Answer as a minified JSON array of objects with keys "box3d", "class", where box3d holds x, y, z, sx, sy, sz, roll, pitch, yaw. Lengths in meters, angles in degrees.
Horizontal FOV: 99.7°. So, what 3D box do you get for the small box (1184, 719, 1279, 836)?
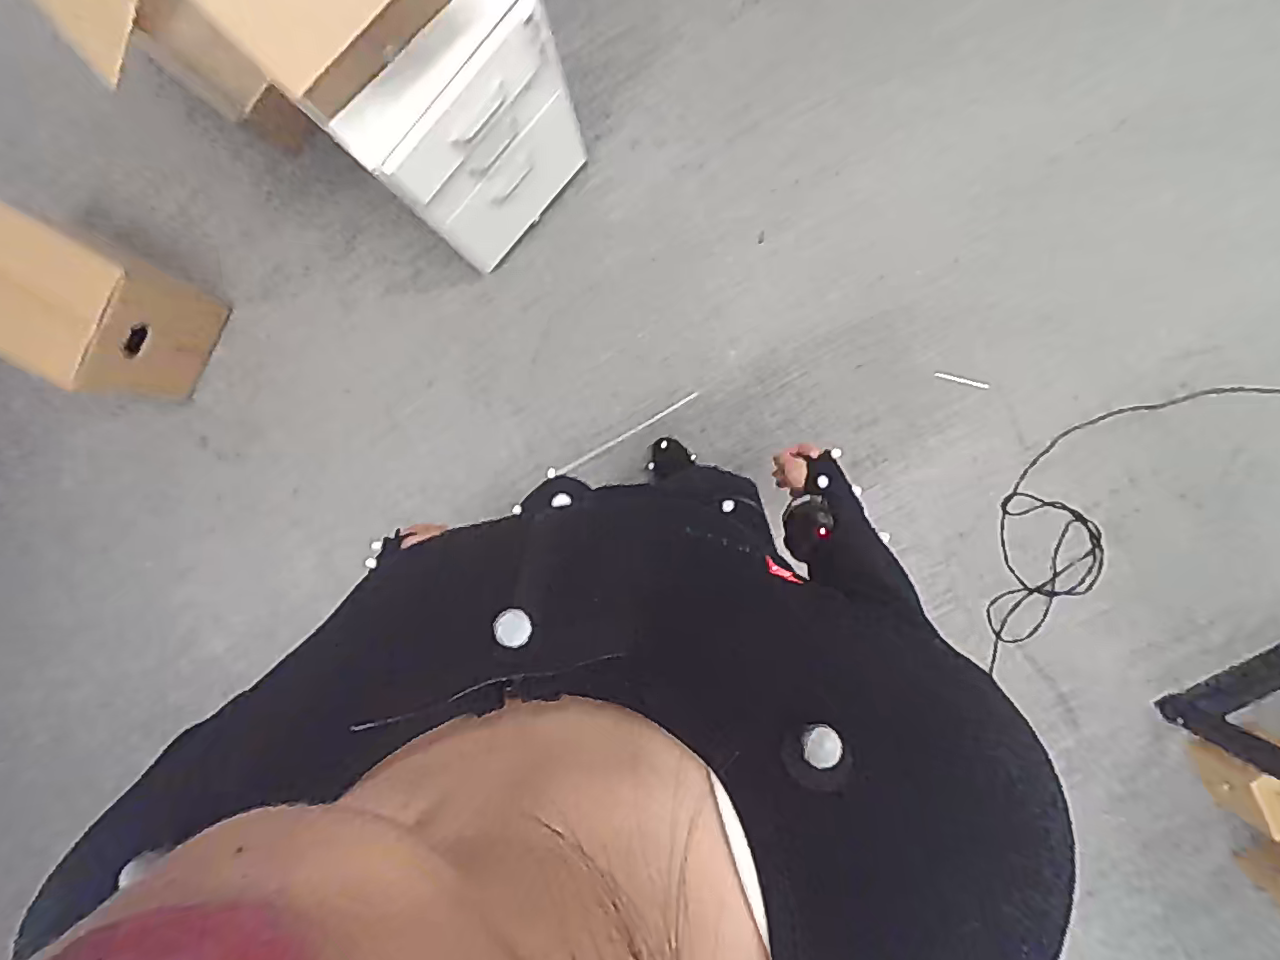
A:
[{"box3d":[1.548,0.744,1.369,0.179,0.176,0.168,-25,91,4],"class":"small box"}]
